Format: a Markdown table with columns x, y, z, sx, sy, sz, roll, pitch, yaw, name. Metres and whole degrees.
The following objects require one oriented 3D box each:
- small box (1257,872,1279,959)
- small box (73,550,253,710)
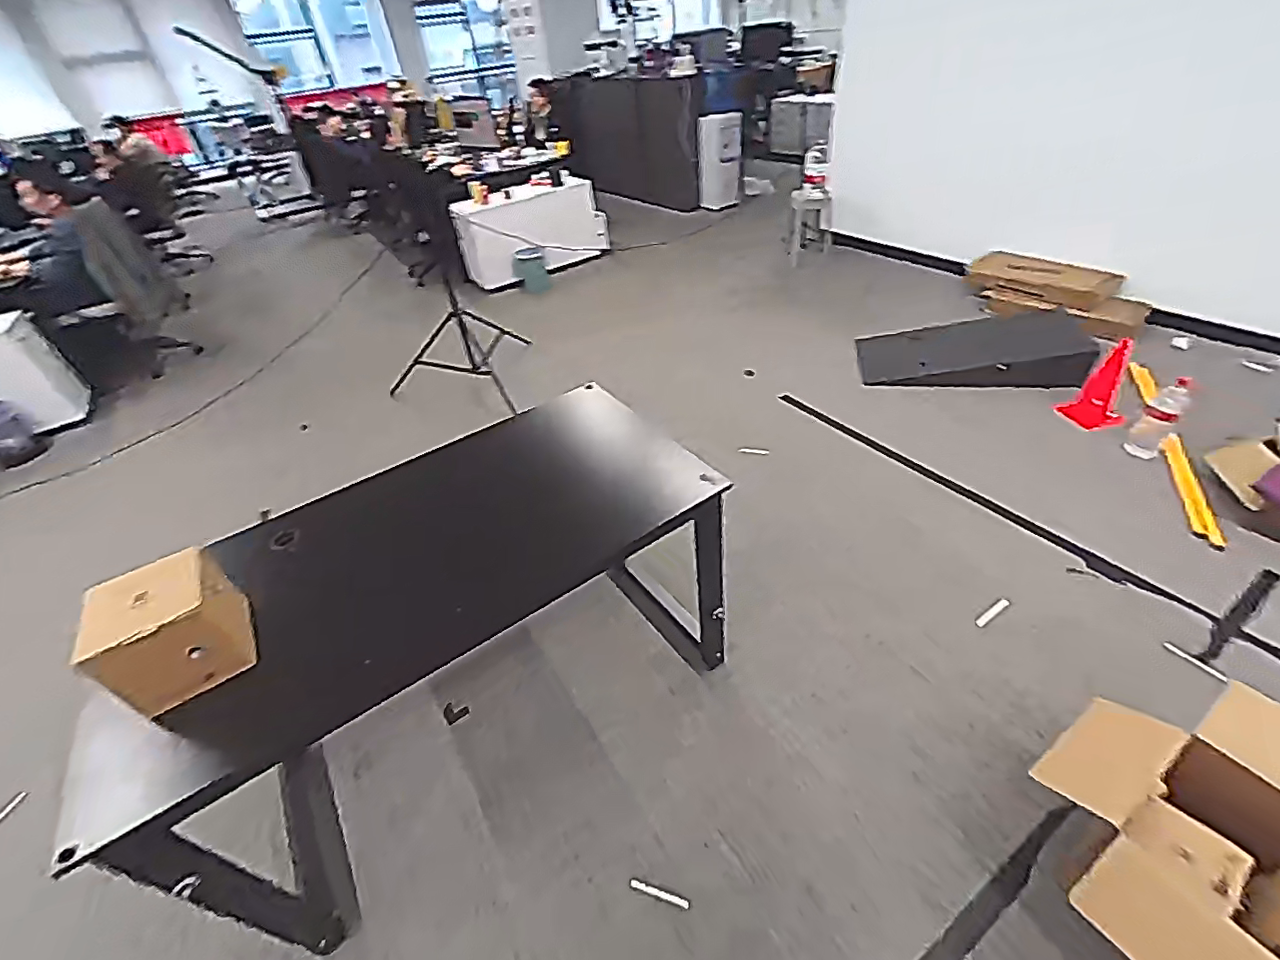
| x | y | z | sx | sy | sz | roll | pitch | yaw | name |
| --- | --- | --- | --- | --- | --- | --- | --- | --- | --- |
| 1.167 | 0.751 | 0.869 | 0.179 | 0.176 | 0.168 | -32 | 50 | -26 | small box |
| -0.792 | 0.259 | 0.918 | 0.168 | 0.176 | 0.179 | -27 | 43 | -24 | small box |
